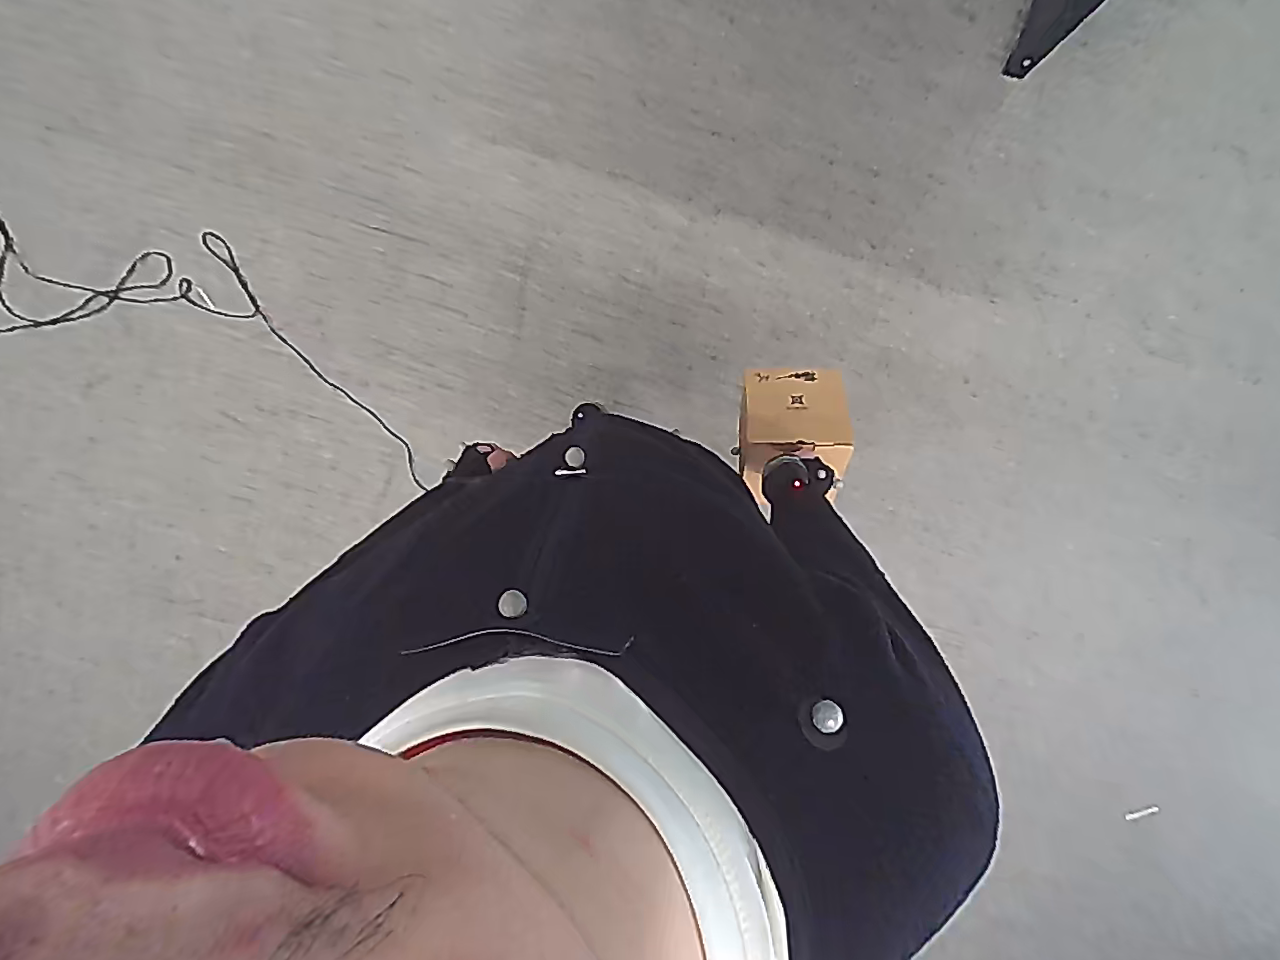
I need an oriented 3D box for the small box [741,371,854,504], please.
[{"bbox_3d":[0.266,-0.069,0.956,0.168,0.176,0.179,-1,53,7],"label":"small box"}]
